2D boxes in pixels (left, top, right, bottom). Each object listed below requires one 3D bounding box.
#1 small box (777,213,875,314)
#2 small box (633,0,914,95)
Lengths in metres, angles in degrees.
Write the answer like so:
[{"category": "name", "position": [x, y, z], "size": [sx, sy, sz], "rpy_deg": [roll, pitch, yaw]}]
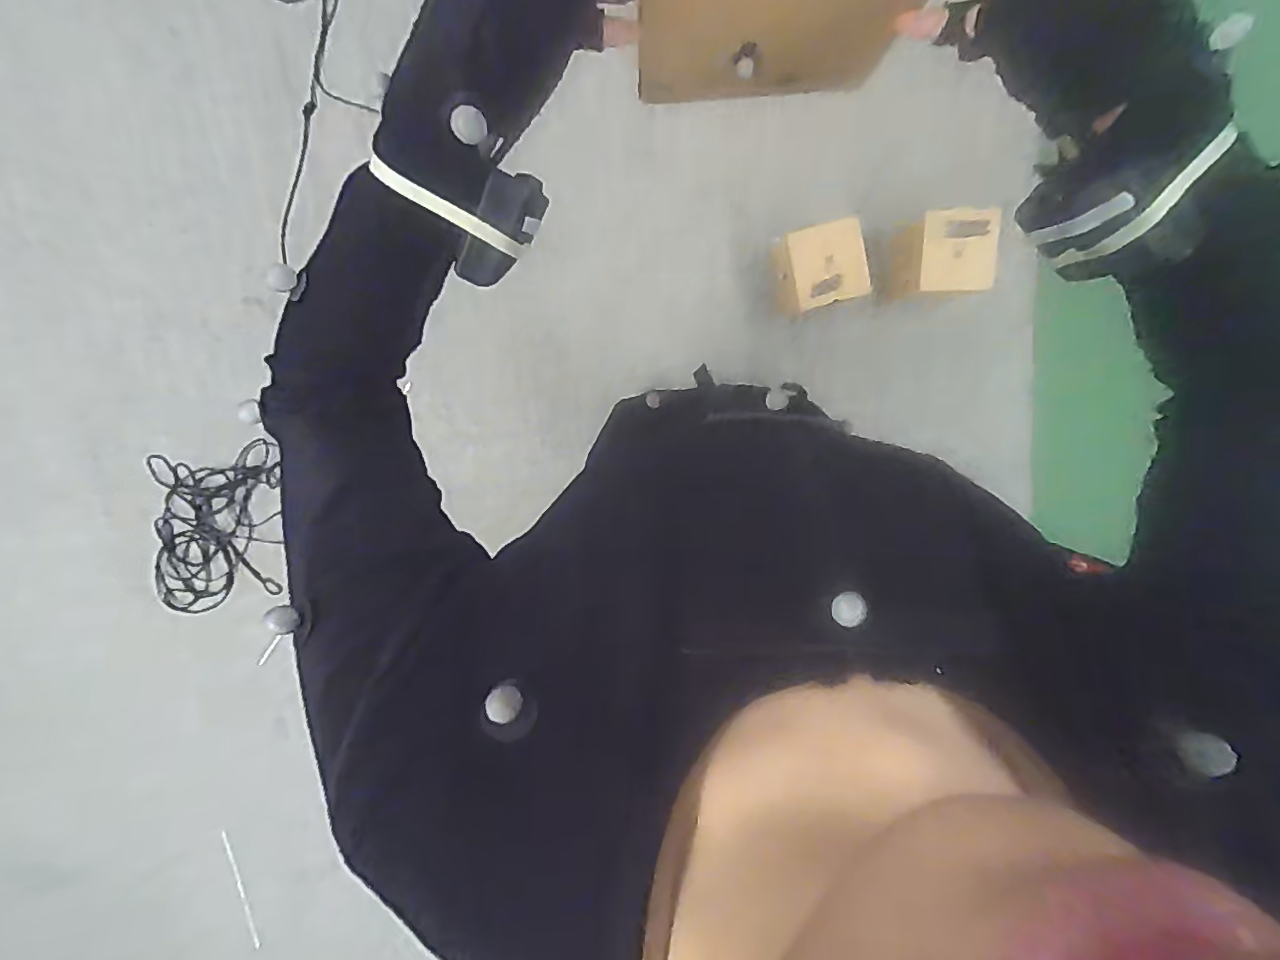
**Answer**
[{"category": "small box", "position": [0.435, -0.500, 1.283], "size": [0.168, 0.176, 0.179], "rpy_deg": [-13, 99, 5]}, {"category": "small box", "position": [0.074, -0.356, 0.297], "size": [0.168, 0.176, 0.179], "rpy_deg": [-4, 100, 3]}]
